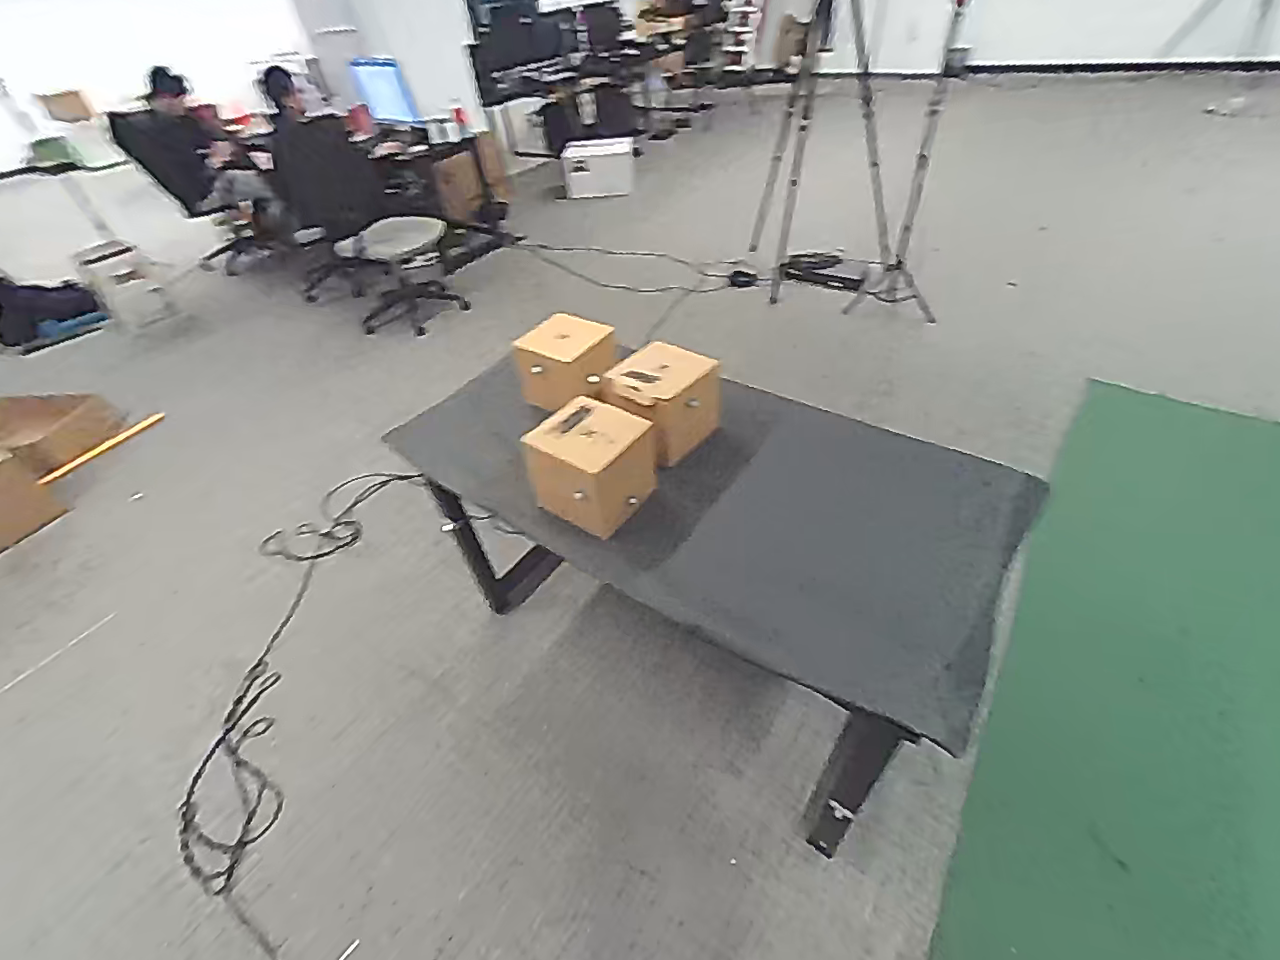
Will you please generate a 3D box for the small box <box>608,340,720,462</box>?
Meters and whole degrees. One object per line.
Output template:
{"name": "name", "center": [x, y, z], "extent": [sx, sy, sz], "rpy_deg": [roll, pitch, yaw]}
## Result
{"name": "small box", "center": [0.057, -0.166, 1.148], "extent": [0.168, 0.176, 0.179], "rpy_deg": [29, 53, 31]}
